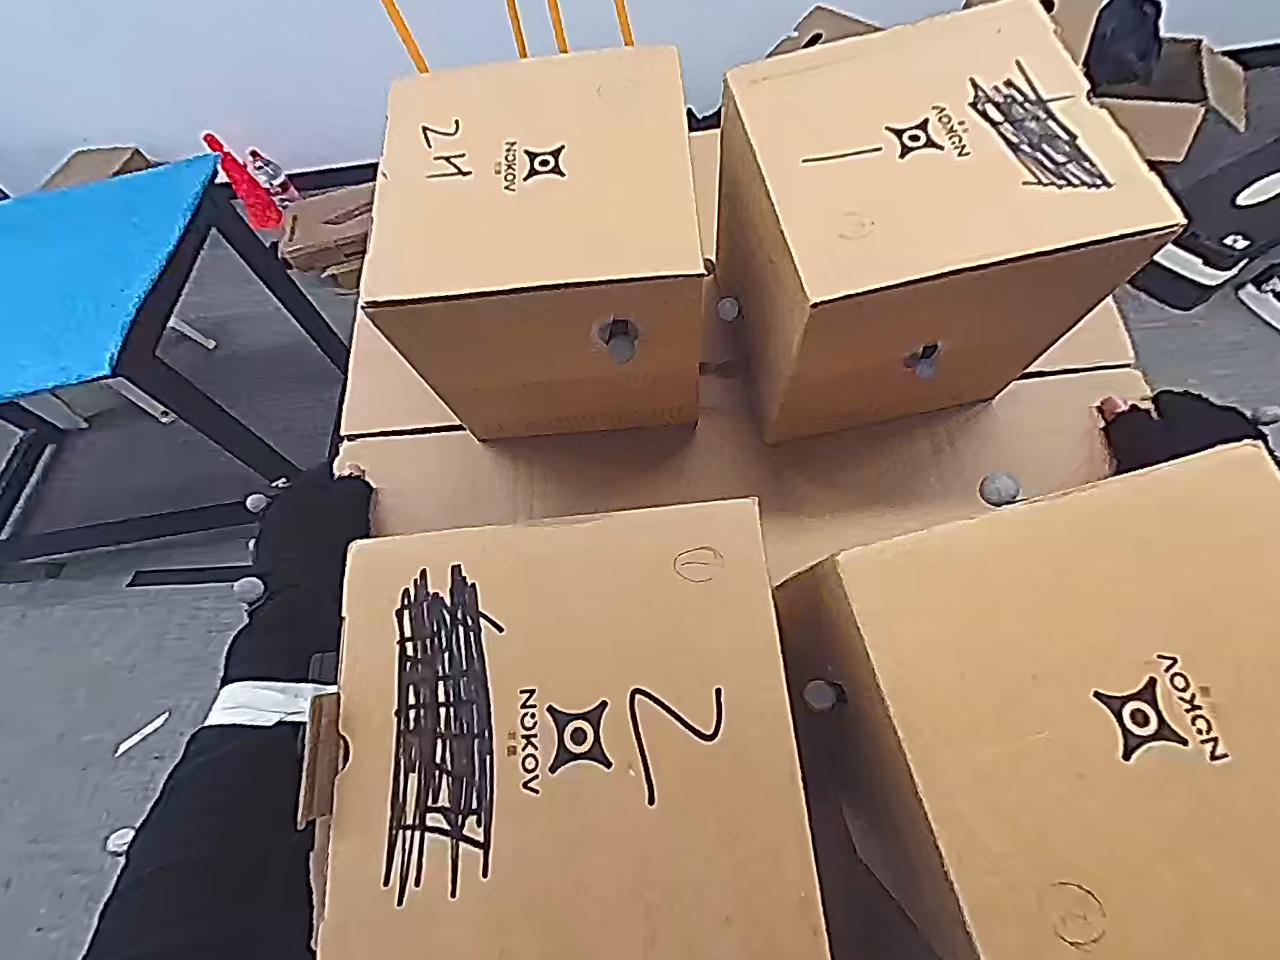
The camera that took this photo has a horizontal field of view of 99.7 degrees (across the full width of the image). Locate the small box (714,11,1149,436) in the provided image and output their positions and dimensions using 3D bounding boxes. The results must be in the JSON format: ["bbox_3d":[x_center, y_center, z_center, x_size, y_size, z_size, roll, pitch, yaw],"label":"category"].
[{"bbox_3d":[0.152,-0.147,0.359,0.179,0.176,0.168,-12,70,3],"label":"small box"}]

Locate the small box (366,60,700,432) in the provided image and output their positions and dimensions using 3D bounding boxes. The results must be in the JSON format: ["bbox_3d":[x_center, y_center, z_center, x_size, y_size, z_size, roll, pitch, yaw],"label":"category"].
[{"bbox_3d":[-0.053,-0.143,0.378,0.179,0.176,0.168,-3,70,4],"label":"small box"}]
